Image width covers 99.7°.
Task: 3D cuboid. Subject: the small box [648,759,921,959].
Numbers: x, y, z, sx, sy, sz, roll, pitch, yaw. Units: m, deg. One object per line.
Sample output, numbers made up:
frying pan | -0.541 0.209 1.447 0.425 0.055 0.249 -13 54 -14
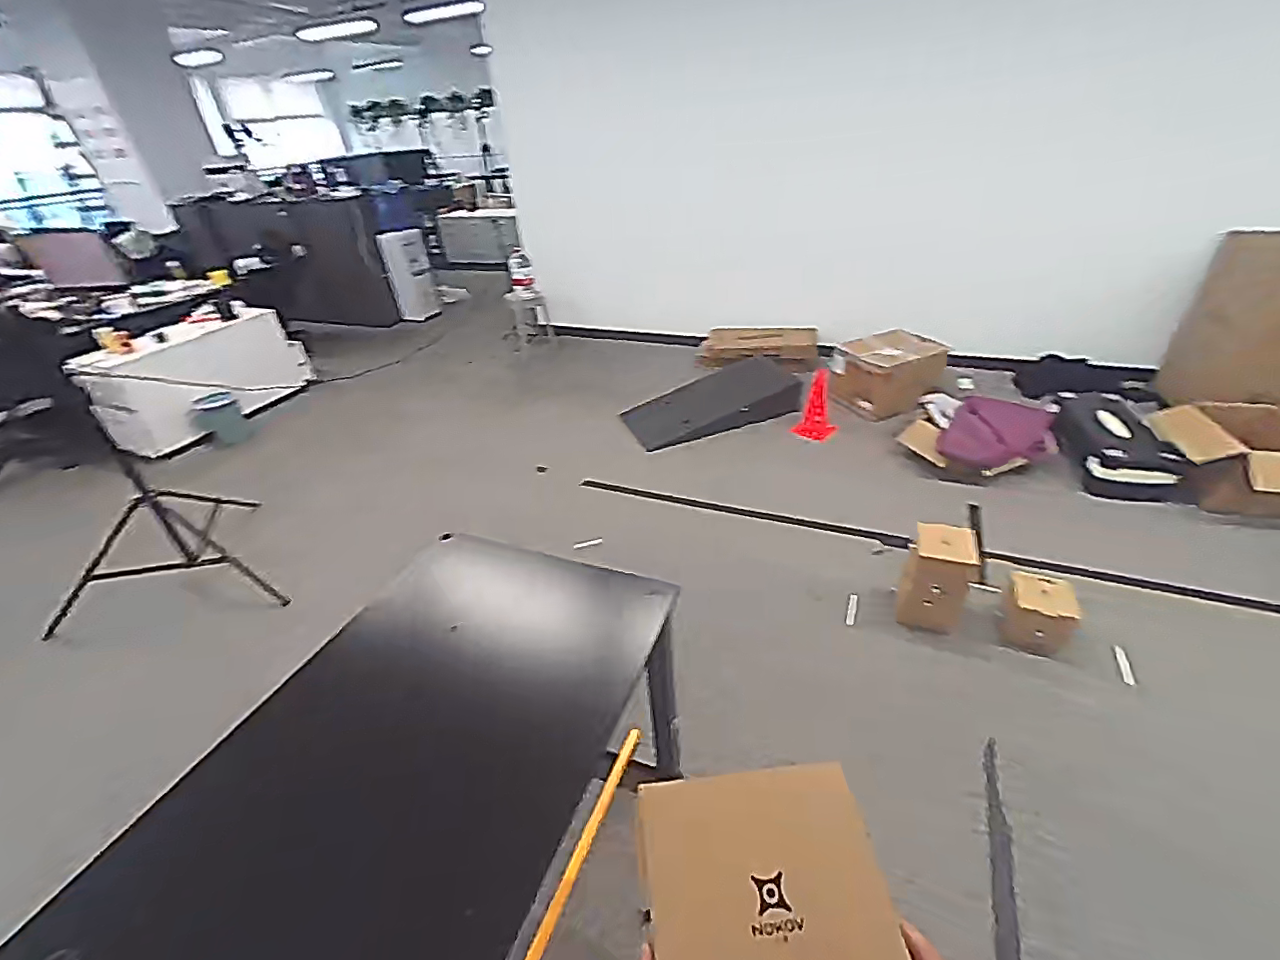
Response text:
small box | 0.096 0.349 0.425 0.168 0.176 0.179 -4 43 -4

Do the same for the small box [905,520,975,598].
small box | 0.977 0.258 1.776 0.168 0.176 0.179 6 37 19

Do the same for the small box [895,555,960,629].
small box | 0.988 0.389 1.871 0.179 0.176 0.168 9 37 20

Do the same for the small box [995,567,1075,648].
small box | 1.295 0.422 1.784 0.168 0.176 0.179 10 38 21
